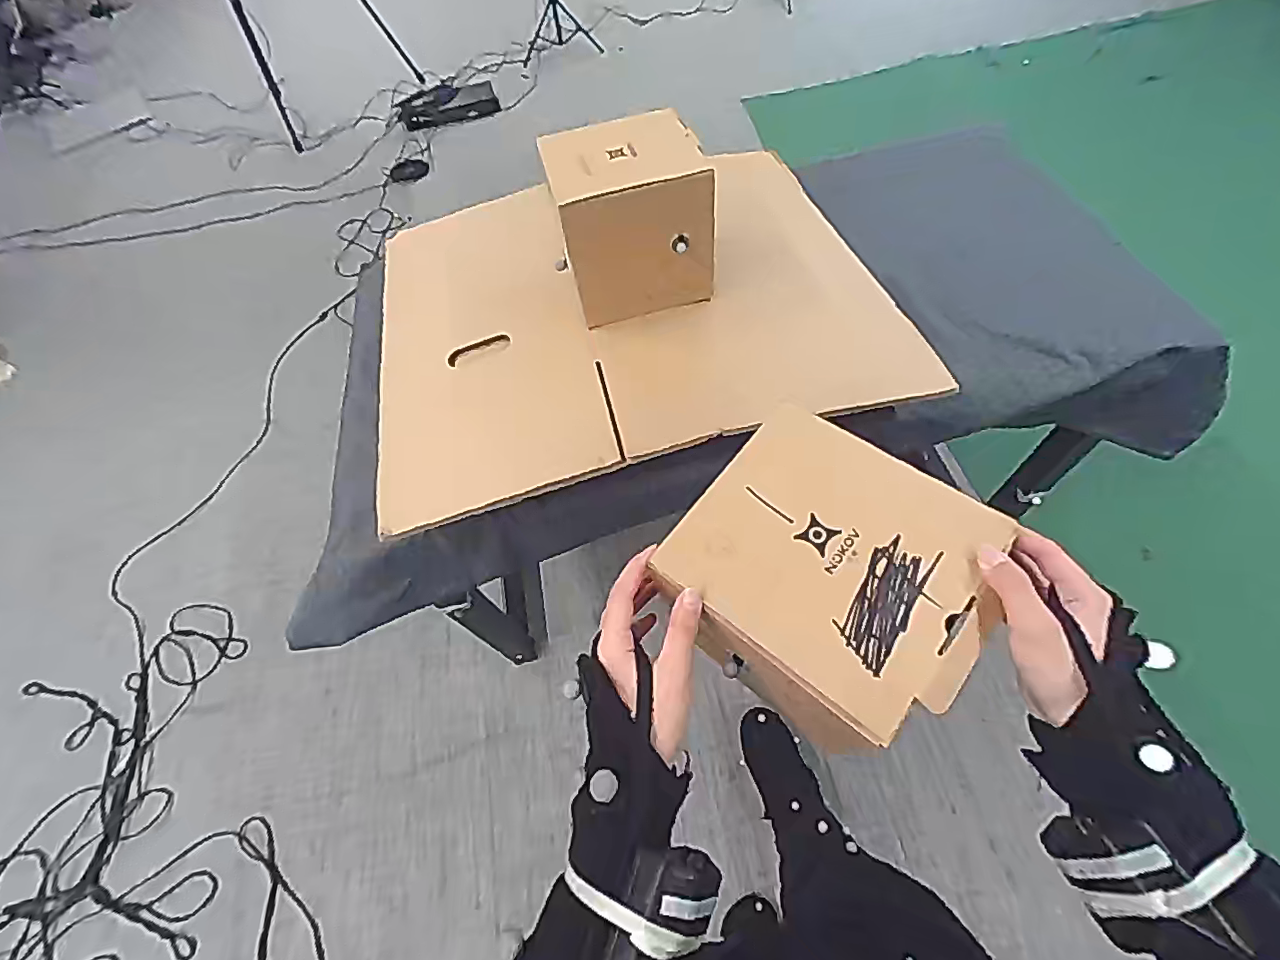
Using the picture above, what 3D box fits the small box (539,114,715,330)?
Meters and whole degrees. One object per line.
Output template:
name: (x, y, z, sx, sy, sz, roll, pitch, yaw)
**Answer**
small box: (-0.013, -0.320, 0.682, 0.179, 0.176, 0.168, -16, 55, -3)
